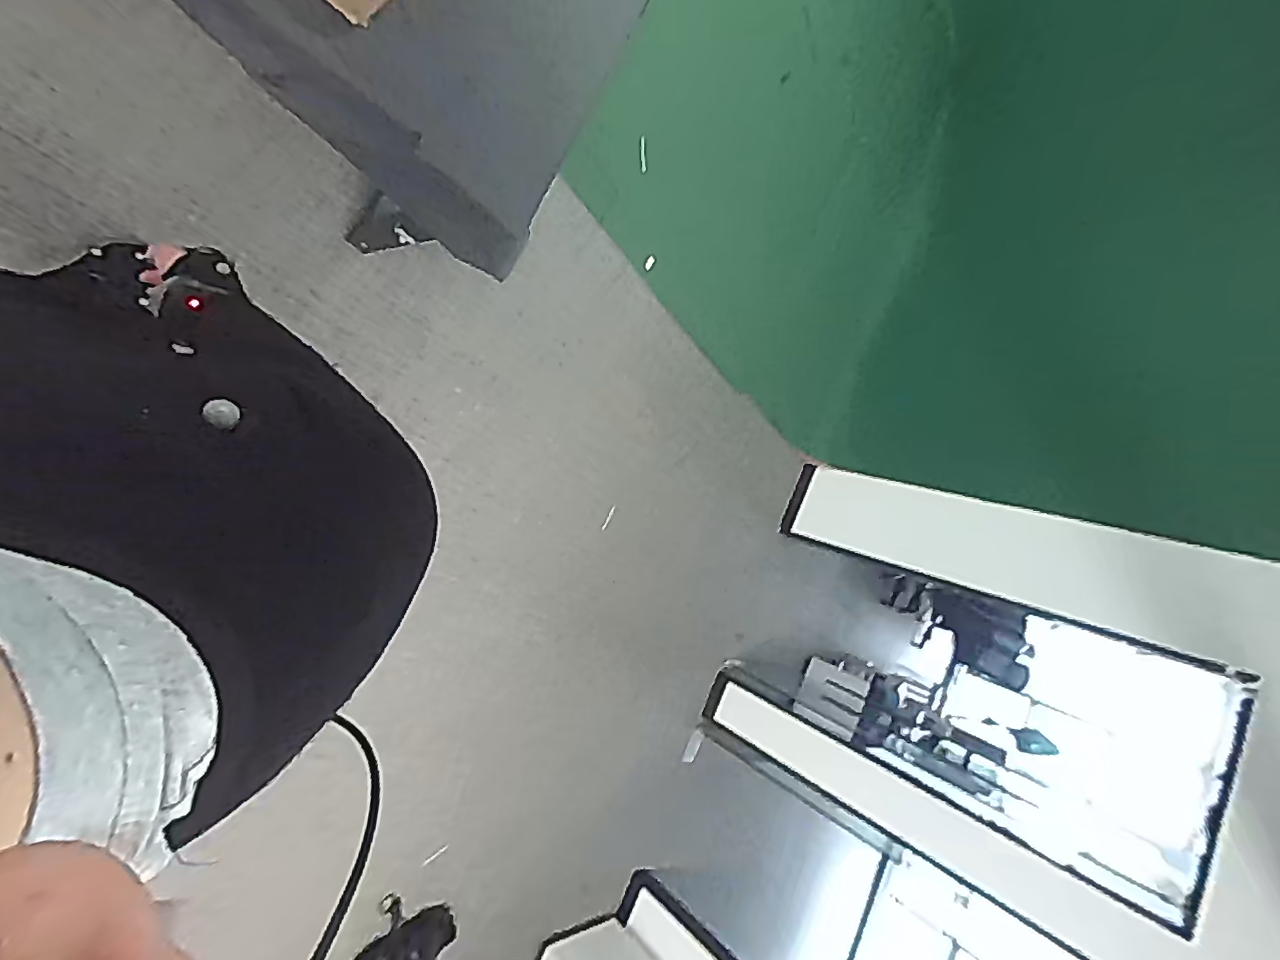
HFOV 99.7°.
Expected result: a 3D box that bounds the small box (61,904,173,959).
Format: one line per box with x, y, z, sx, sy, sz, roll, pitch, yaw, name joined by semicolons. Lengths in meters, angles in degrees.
-1.254;1.167;1.278;0.168;0.176;0.179;27;81;-49;small box
